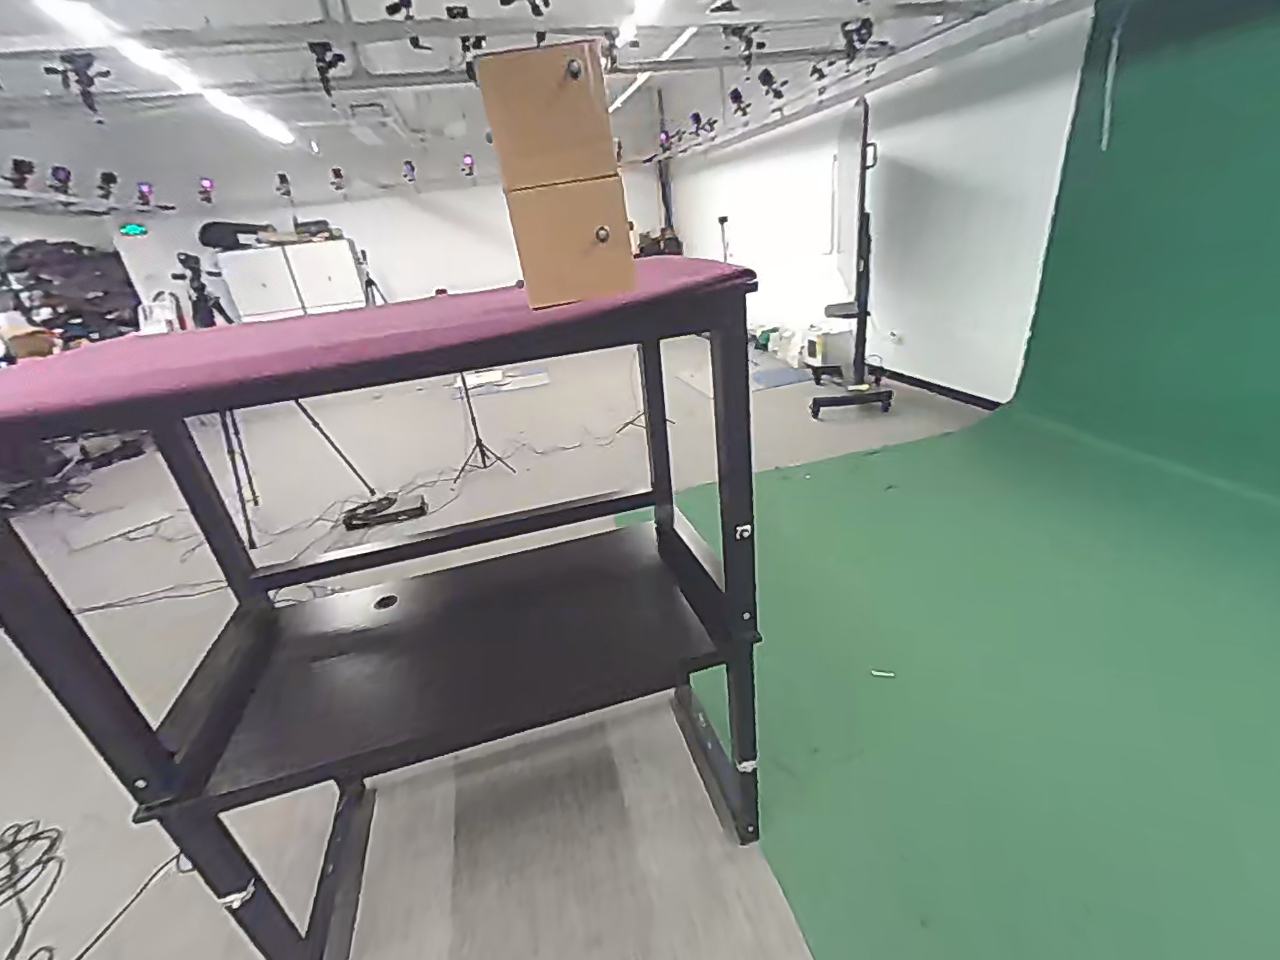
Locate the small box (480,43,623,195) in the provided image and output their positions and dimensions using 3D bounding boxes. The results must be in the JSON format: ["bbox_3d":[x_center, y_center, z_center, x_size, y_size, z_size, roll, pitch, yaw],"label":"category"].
[{"bbox_3d":[-0.129,-0.532,0.835,0.179,0.176,0.168,-9,22,-3],"label":"small box"}]

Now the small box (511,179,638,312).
[{"bbox_3d":[-0.103,-0.382,0.892,0.179,0.176,0.168,-12,22,-6],"label":"small box"}]
